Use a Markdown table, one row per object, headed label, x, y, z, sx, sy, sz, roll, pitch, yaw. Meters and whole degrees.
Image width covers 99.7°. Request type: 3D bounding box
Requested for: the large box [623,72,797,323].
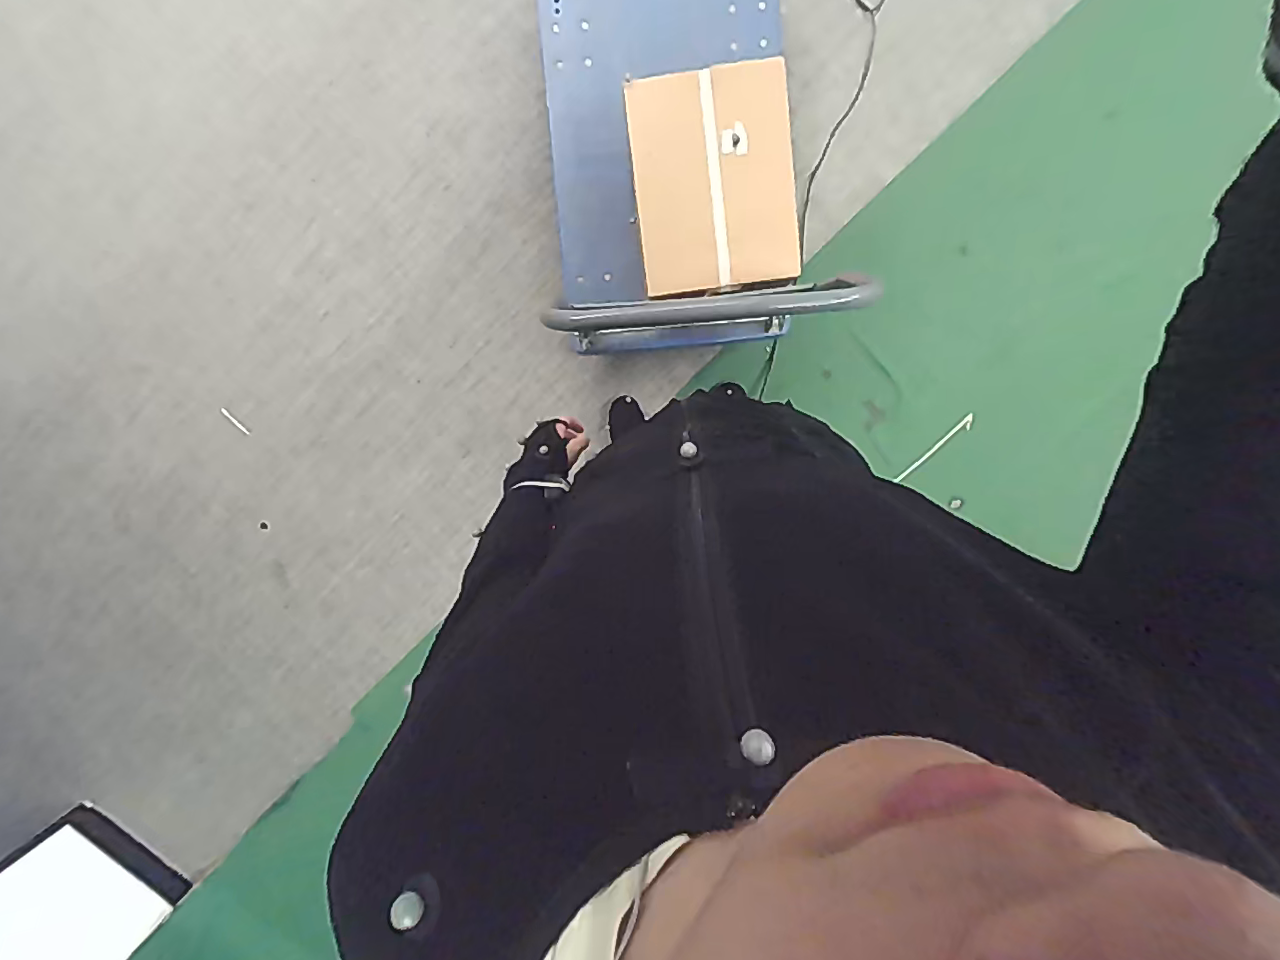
| label | x | y | z | sx | sy | sz | roll | pitch | yaw |
| --- | --- | --- | --- | --- | --- | --- | --- | --- | --- |
| large box | 0.149 | -0.604 | 1.236 | 0.320 | 0.320 | 0.408 | -7 | 98 | 2 |
